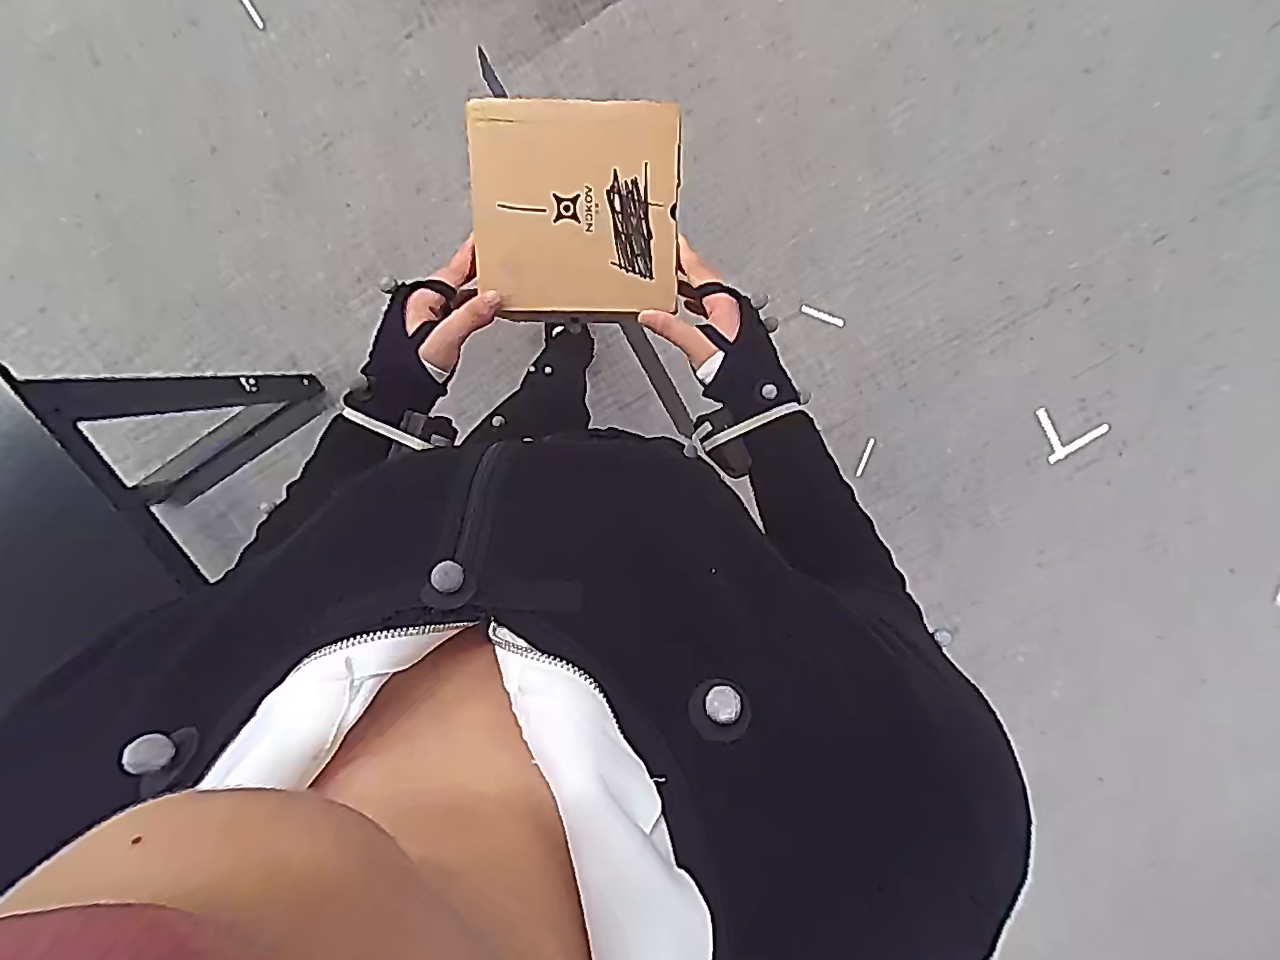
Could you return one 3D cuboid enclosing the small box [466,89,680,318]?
[{"bbox_3d":[-0.059,-0.253,0.534,0.179,0.176,0.168,0,103,-2],"label":"small box"}]
